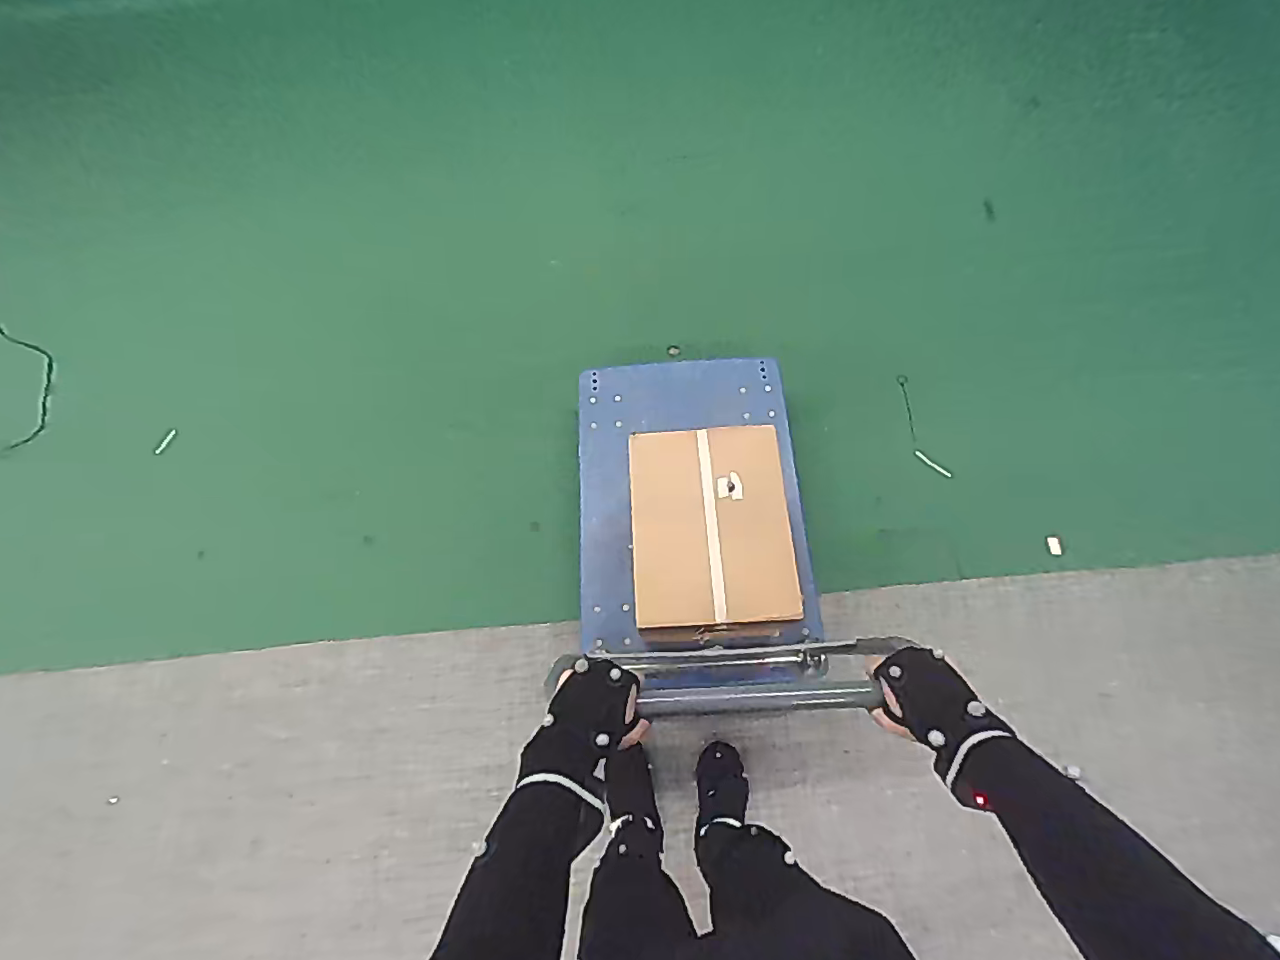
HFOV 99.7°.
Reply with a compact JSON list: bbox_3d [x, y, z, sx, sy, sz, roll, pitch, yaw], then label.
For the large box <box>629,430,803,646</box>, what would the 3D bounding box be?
[{"bbox_3d":[0.149,0.144,1.213,0.320,0.320,0.408,-3,68,1],"label":"large box"}]
